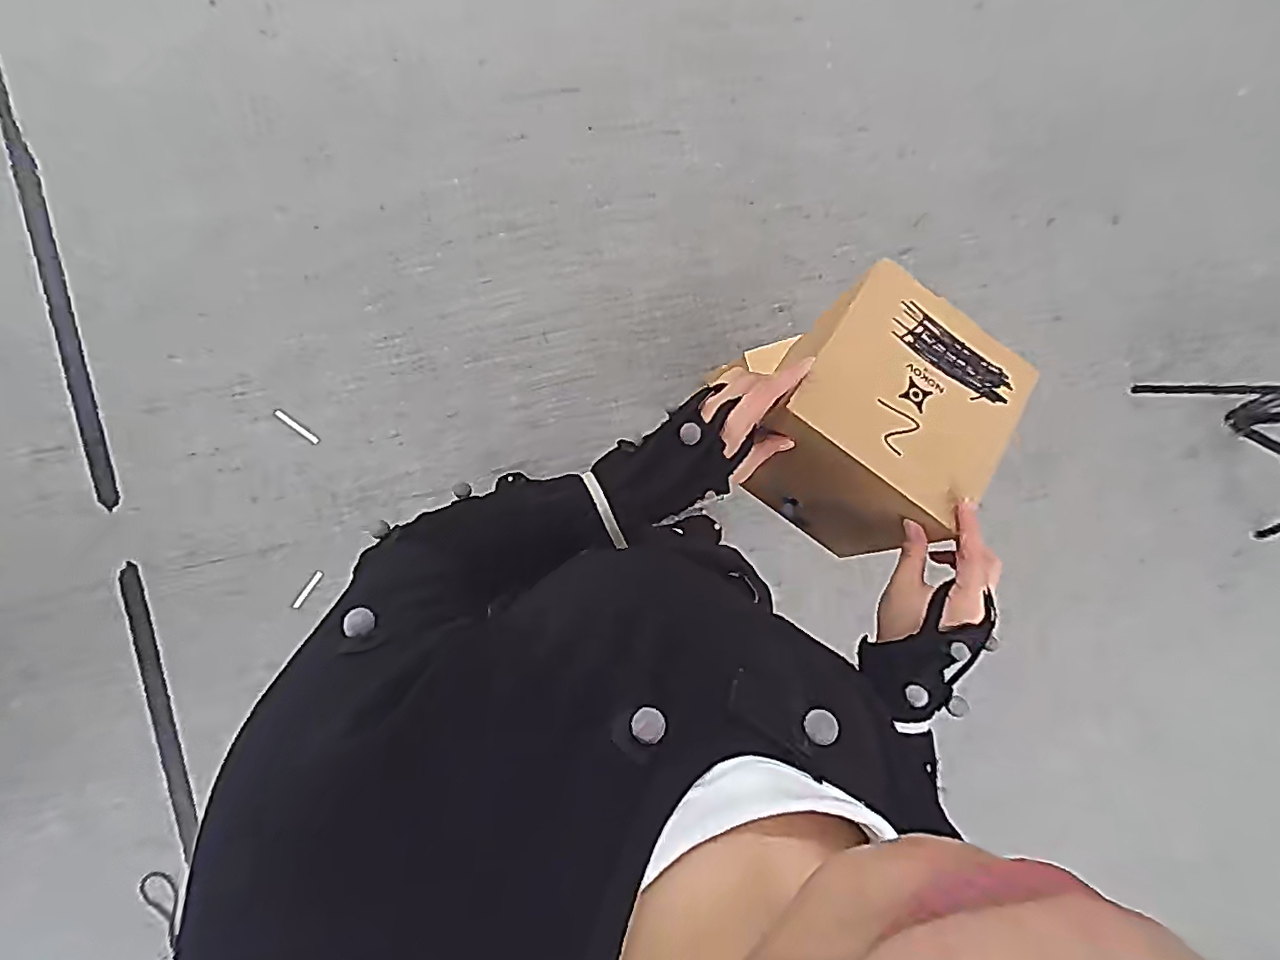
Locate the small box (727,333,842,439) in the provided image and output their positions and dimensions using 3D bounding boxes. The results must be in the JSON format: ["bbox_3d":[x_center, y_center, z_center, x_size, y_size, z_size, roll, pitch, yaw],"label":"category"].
[{"bbox_3d":[0.304,-0.195,1.170,0.168,0.176,0.179,-18,94,-5],"label":"small box"}]

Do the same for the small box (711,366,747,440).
[{"bbox_3d":[0.280,-0.195,1.331,0.179,0.176,0.168,-10,93,-6],"label":"small box"}]
